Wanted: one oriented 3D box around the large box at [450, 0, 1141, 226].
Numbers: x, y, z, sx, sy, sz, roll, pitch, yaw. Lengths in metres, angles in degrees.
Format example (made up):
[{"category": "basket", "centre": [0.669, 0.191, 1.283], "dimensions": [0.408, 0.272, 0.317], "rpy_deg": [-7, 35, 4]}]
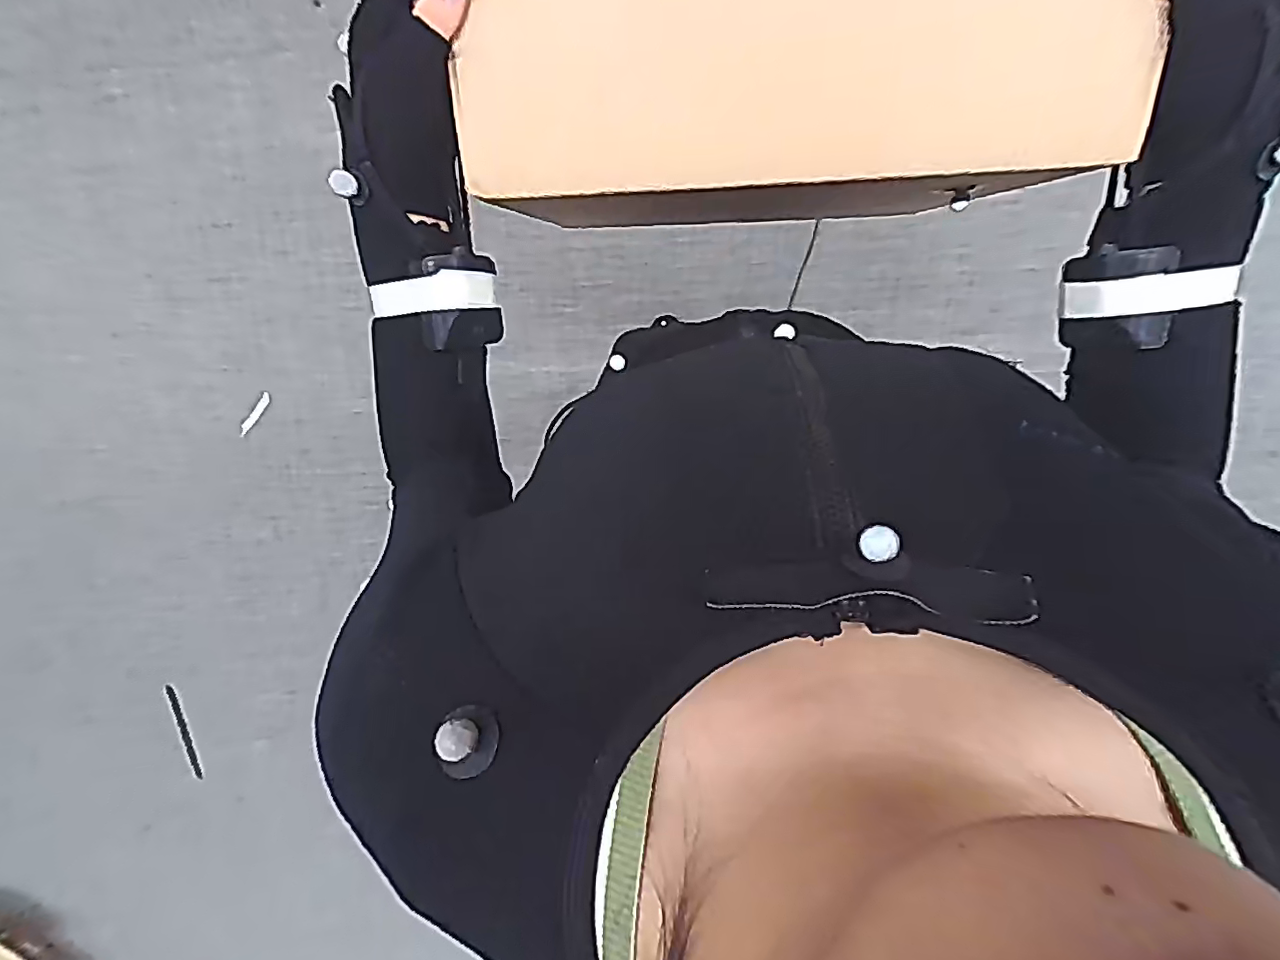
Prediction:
[{"category": "large box", "centre": [0.093, -0.389, 0.430], "dimensions": [0.408, 0.320, 0.320], "rpy_deg": [-1, 111, 5]}]
